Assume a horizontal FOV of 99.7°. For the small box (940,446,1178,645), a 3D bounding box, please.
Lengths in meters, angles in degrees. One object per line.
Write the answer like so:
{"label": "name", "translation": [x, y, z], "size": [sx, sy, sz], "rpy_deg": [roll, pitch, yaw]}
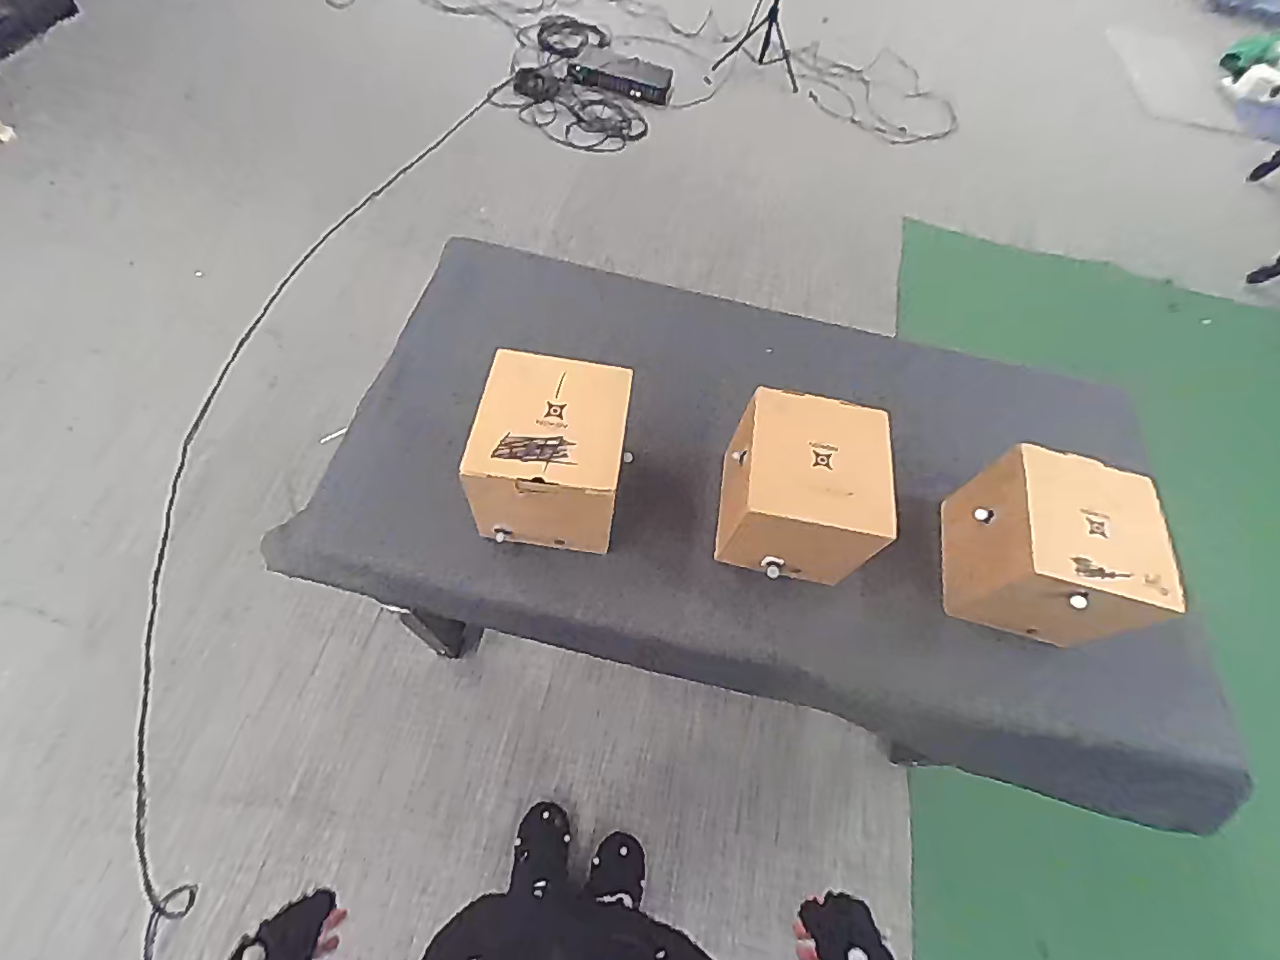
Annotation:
{"label": "small box", "translation": [0.508, 0.089, 0.690], "size": [0.168, 0.176, 0.179], "rpy_deg": [15, 60, 3]}

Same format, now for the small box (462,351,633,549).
{"label": "small box", "translation": [-0.106, -0.030, 0.678], "size": [0.168, 0.176, 0.179], "rpy_deg": [9, 59, -3]}

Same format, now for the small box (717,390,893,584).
{"label": "small box", "translation": [0.201, 0.015, 0.696], "size": [0.168, 0.176, 0.179], "rpy_deg": [10, 61, 0]}
